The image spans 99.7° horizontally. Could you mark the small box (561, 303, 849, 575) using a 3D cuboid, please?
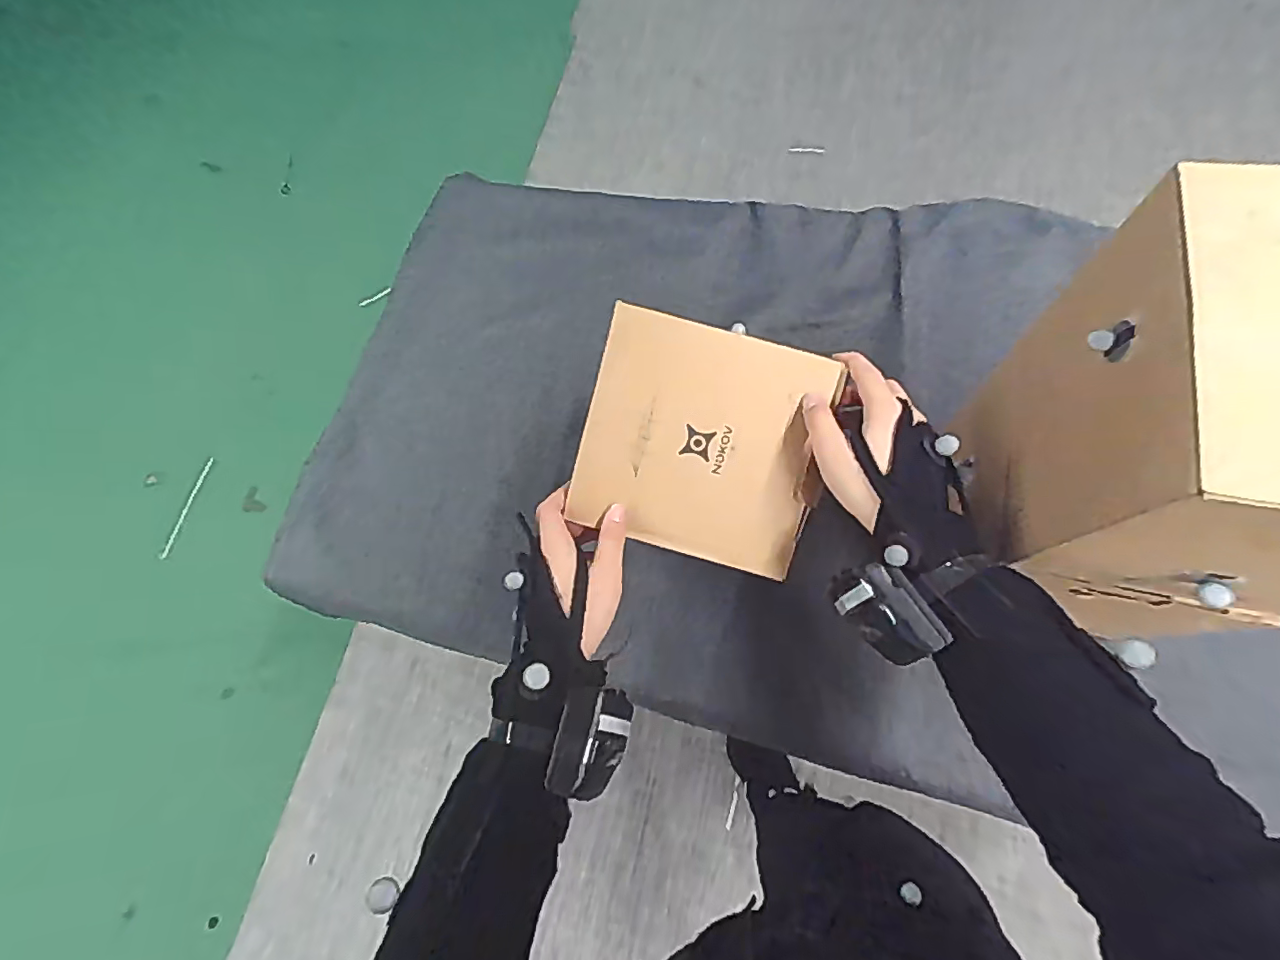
[{"bbox_3d":[0.049,-0.038,0.471,0.179,0.176,0.168,15,97,2],"label":"small box"}]

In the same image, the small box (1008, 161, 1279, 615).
[{"bbox_3d":[0.330,-0.035,0.296,0.168,0.176,0.179,10,73,13],"label":"small box"}]

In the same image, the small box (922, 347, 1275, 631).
[{"bbox_3d":[0.354,0.019,0.450,0.168,0.176,0.179,13,73,13],"label":"small box"}]
